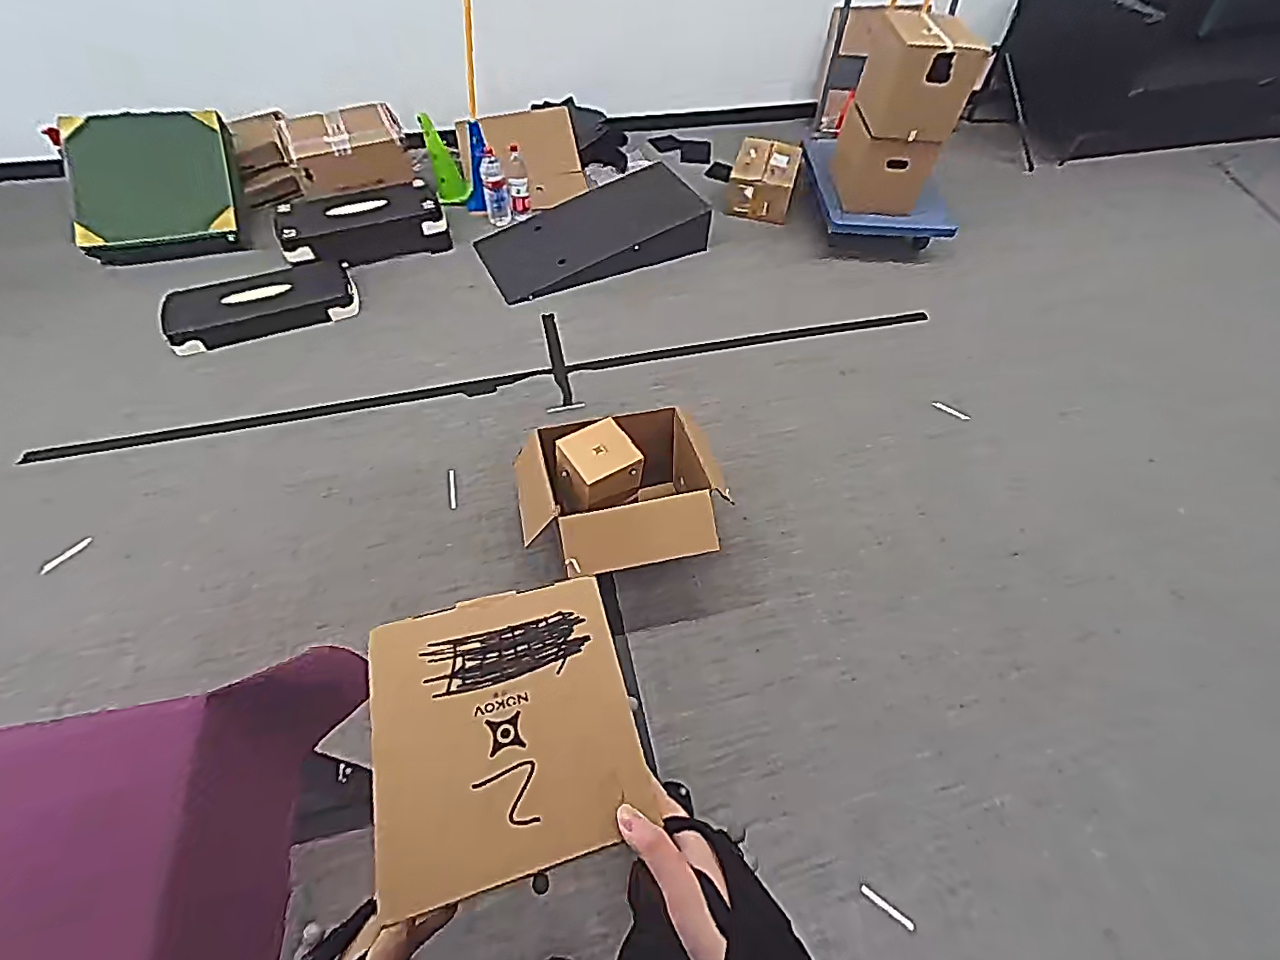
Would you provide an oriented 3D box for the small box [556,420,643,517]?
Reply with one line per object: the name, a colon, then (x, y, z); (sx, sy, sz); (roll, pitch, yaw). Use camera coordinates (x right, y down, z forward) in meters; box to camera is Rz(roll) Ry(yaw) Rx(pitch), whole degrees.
small box: (-0.113, -0.028, 1.478); (0.179, 0.176, 0.168); (-27, 62, -24)
